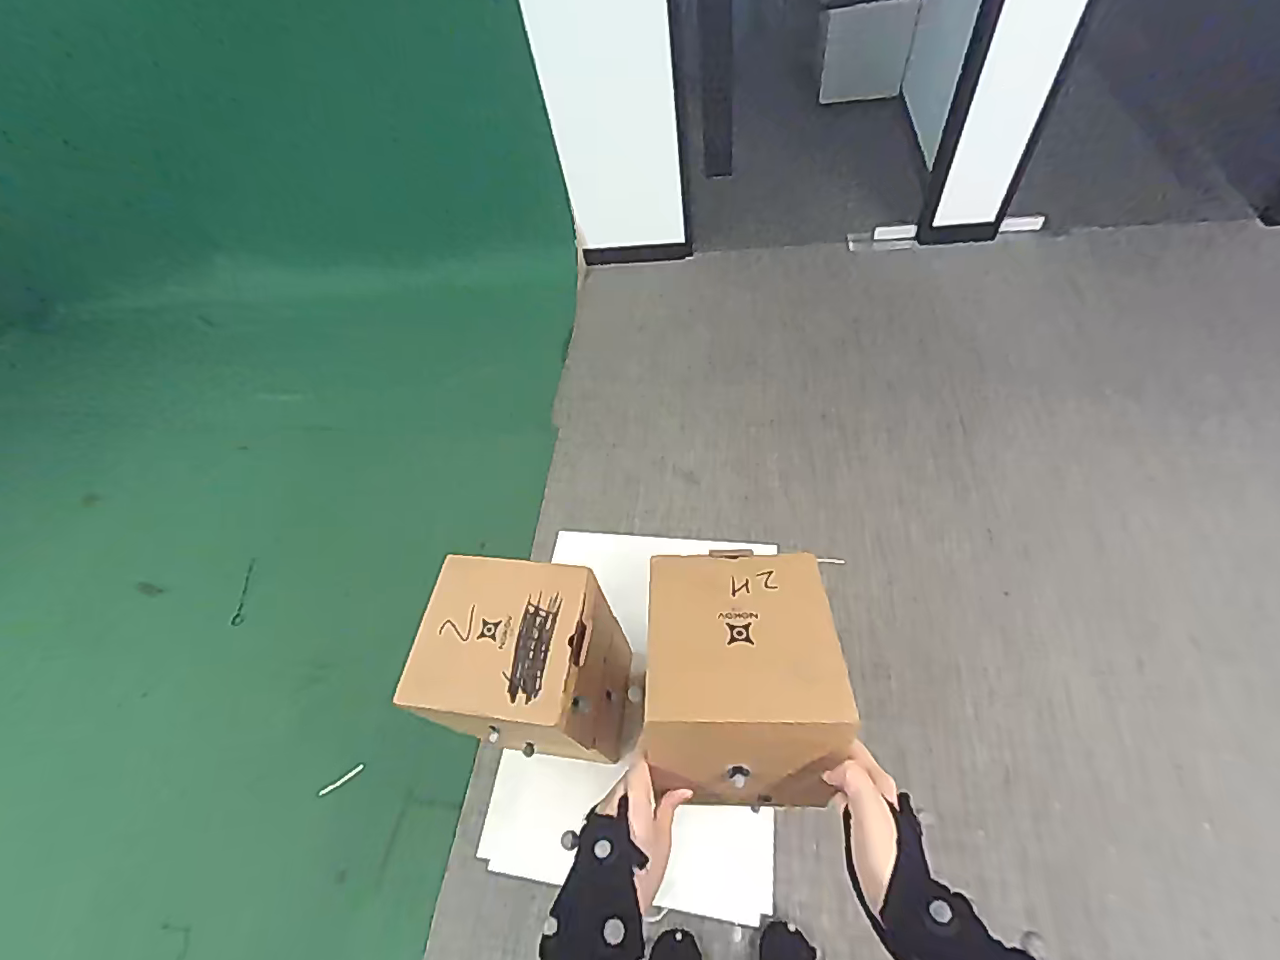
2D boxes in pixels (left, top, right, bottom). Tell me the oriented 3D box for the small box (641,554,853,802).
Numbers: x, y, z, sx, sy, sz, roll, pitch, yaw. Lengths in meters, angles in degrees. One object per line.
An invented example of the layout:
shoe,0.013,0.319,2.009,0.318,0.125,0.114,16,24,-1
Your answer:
small box,0.093,0.193,0.529,0.168,0.176,0.179,-1,40,4

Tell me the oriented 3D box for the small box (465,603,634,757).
small box,-0.114,0.288,0.769,0.179,0.176,0.168,3,58,10
